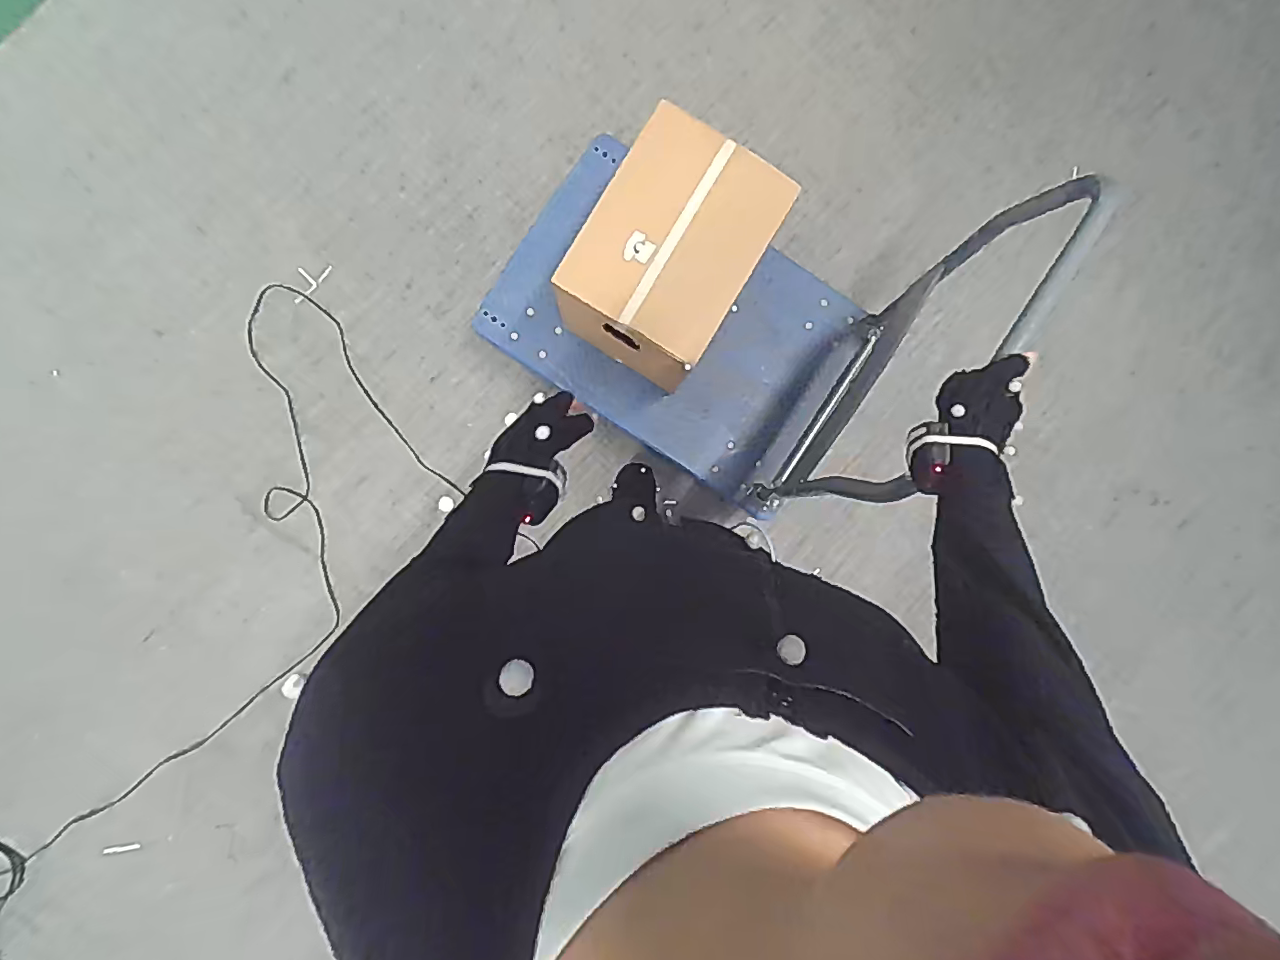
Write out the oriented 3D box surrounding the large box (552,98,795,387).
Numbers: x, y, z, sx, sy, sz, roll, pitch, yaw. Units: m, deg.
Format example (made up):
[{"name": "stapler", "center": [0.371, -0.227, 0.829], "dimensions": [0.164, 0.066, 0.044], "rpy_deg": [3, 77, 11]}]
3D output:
[{"name": "large box", "center": [0.058, -0.464, 1.150], "dimensions": [0.320, 0.320, 0.408], "rpy_deg": [32, 89, -2]}]
